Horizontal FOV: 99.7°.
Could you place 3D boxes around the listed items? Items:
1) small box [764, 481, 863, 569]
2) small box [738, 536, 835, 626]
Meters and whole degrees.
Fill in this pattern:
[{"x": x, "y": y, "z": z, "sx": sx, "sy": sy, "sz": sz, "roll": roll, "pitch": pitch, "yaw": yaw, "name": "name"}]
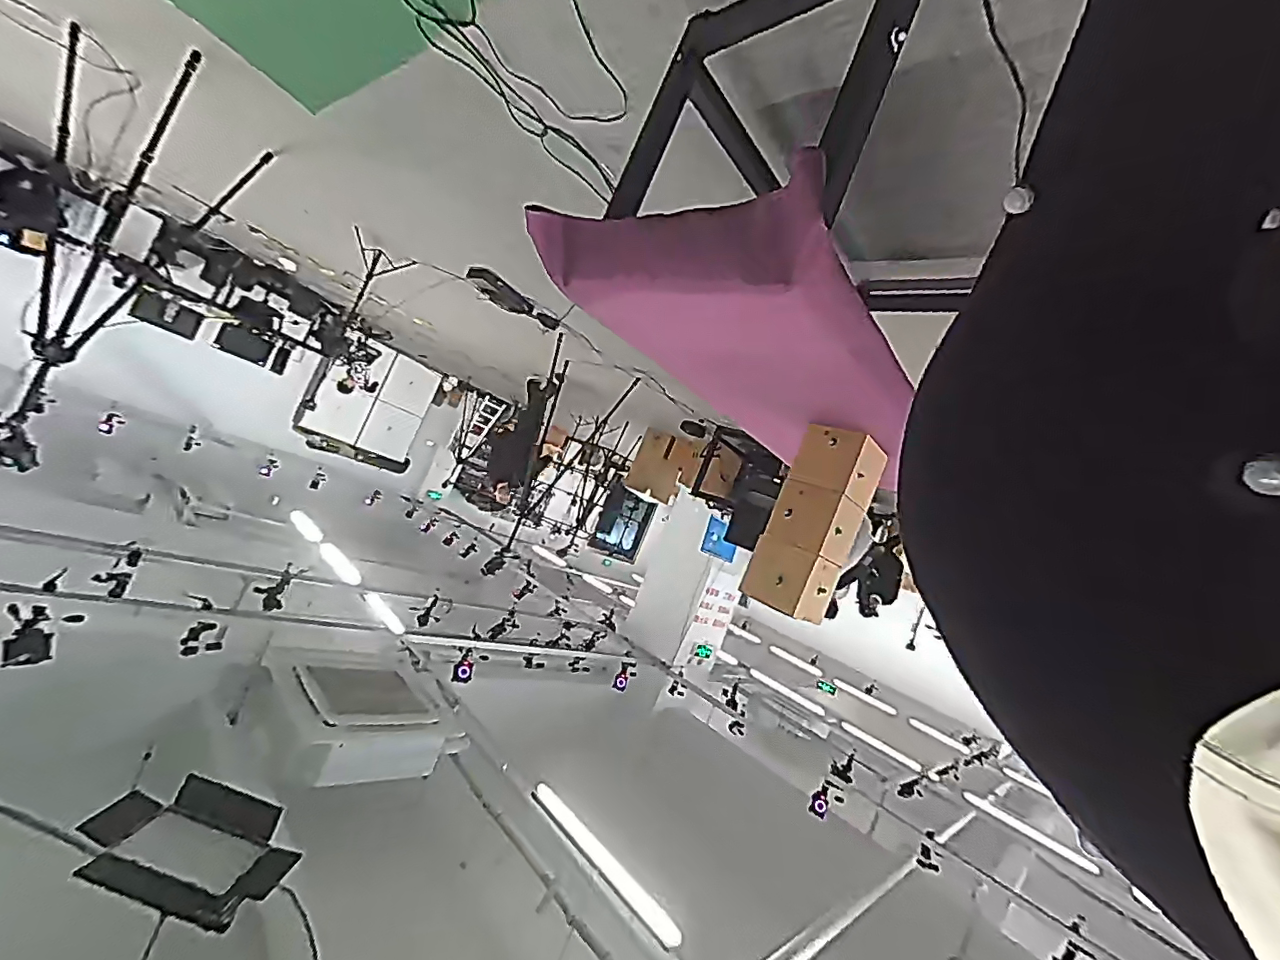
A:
[{"x": 0.465, "y": 0.117, "z": 1.440, "sx": 0.168, "sy": 0.176, "sz": 0.179, "roll": 20, "pitch": 175, "yaw": 44, "name": "small box"}, {"x": 0.395, "y": 0.264, "z": 1.433, "sx": 0.179, "sy": 0.176, "sz": 0.168, "roll": 20, "pitch": 174, "yaw": 45, "name": "small box"}]
